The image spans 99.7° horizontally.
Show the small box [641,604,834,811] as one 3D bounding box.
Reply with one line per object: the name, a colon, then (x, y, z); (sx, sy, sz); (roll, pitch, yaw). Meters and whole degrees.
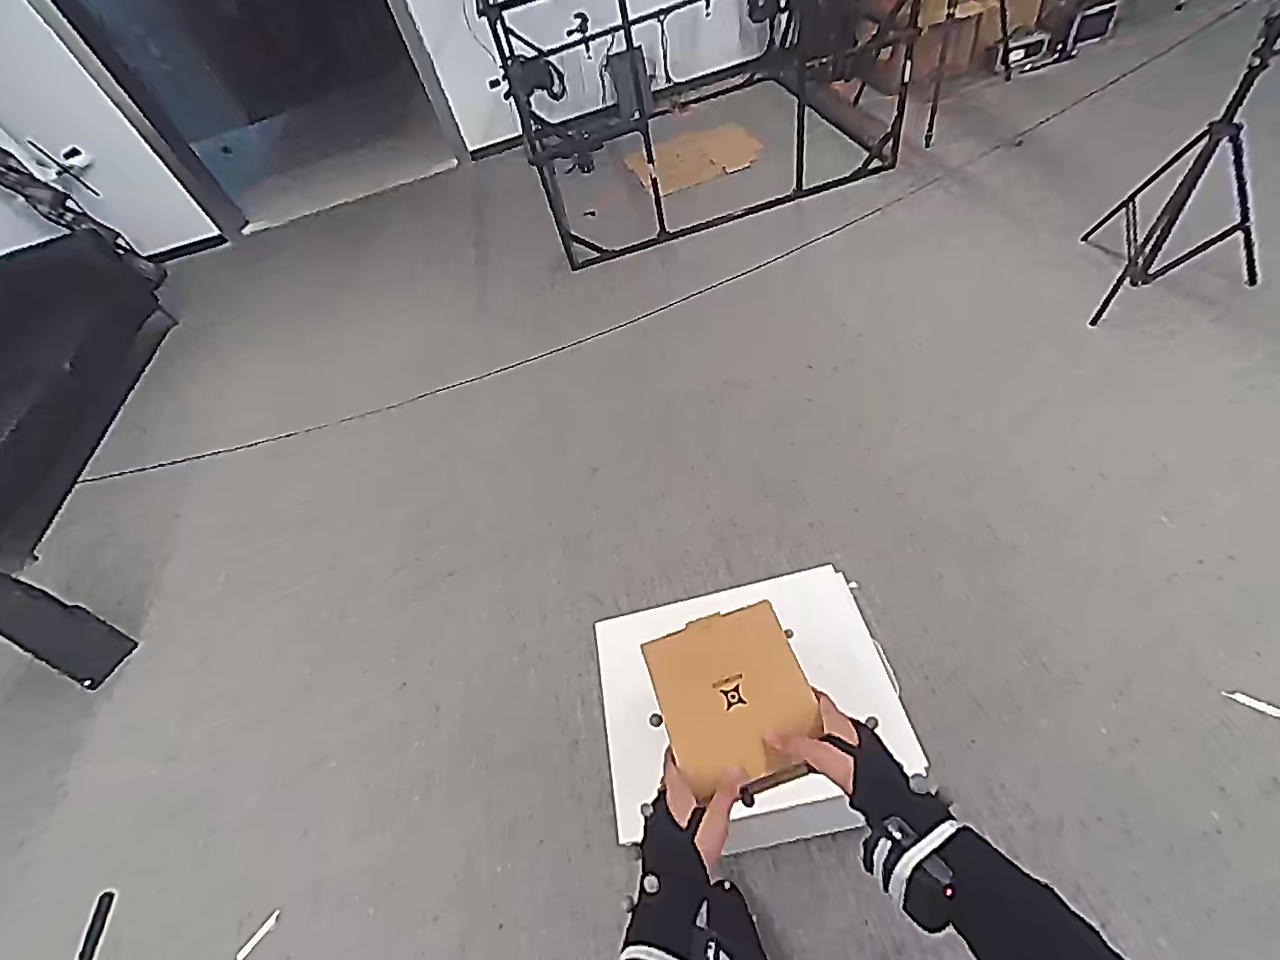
small box: (0.114, 0.284, 0.661); (0.168, 0.176, 0.179); (-19, 52, -3)
